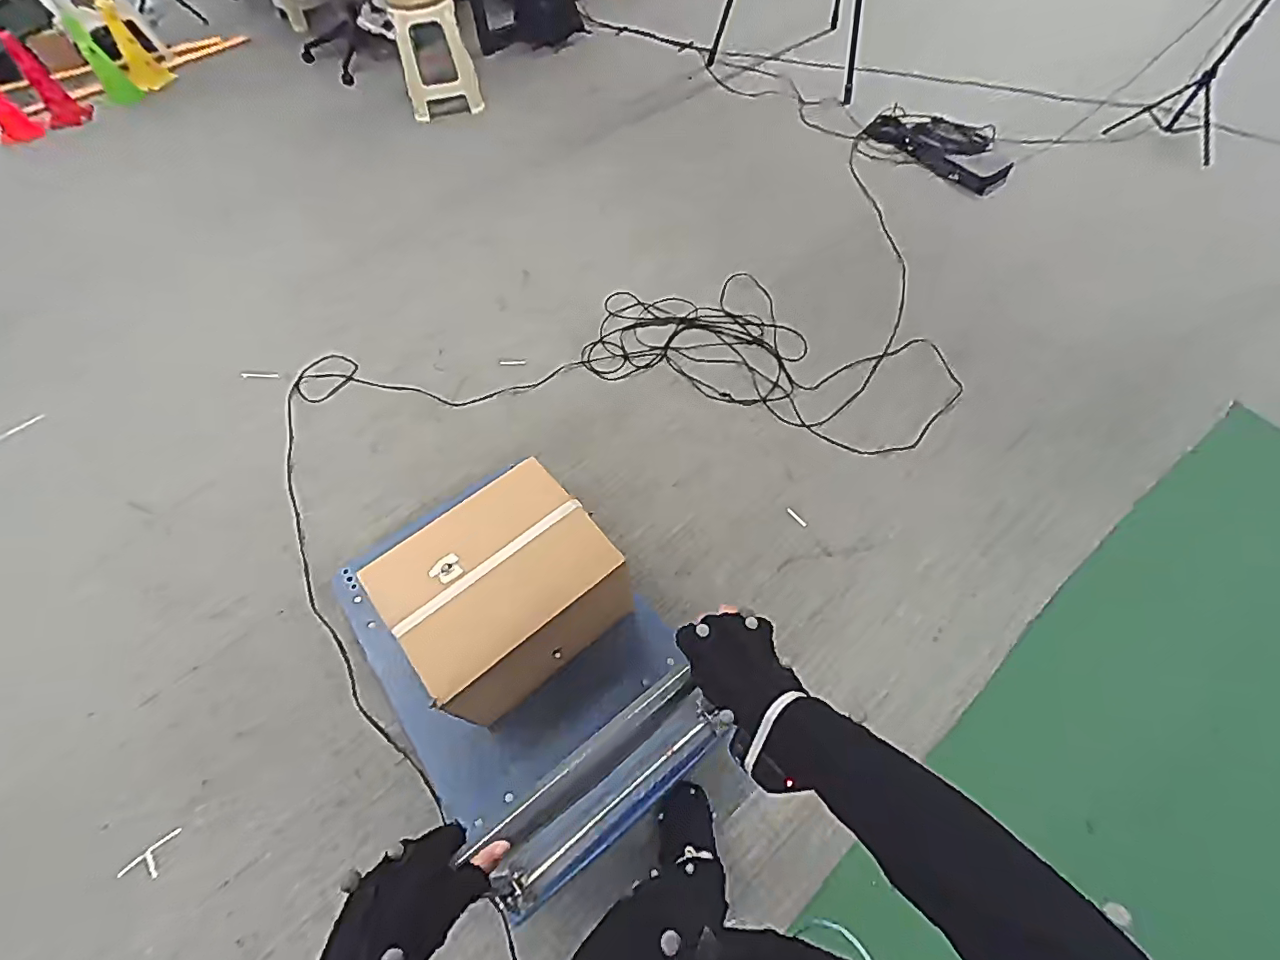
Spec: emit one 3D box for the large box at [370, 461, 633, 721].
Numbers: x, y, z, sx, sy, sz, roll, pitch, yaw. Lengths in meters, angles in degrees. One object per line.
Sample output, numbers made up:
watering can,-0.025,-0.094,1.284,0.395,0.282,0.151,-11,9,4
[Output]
large box,-0.264,0.243,1.159,0.408,0.320,0.320,-38,64,-17
